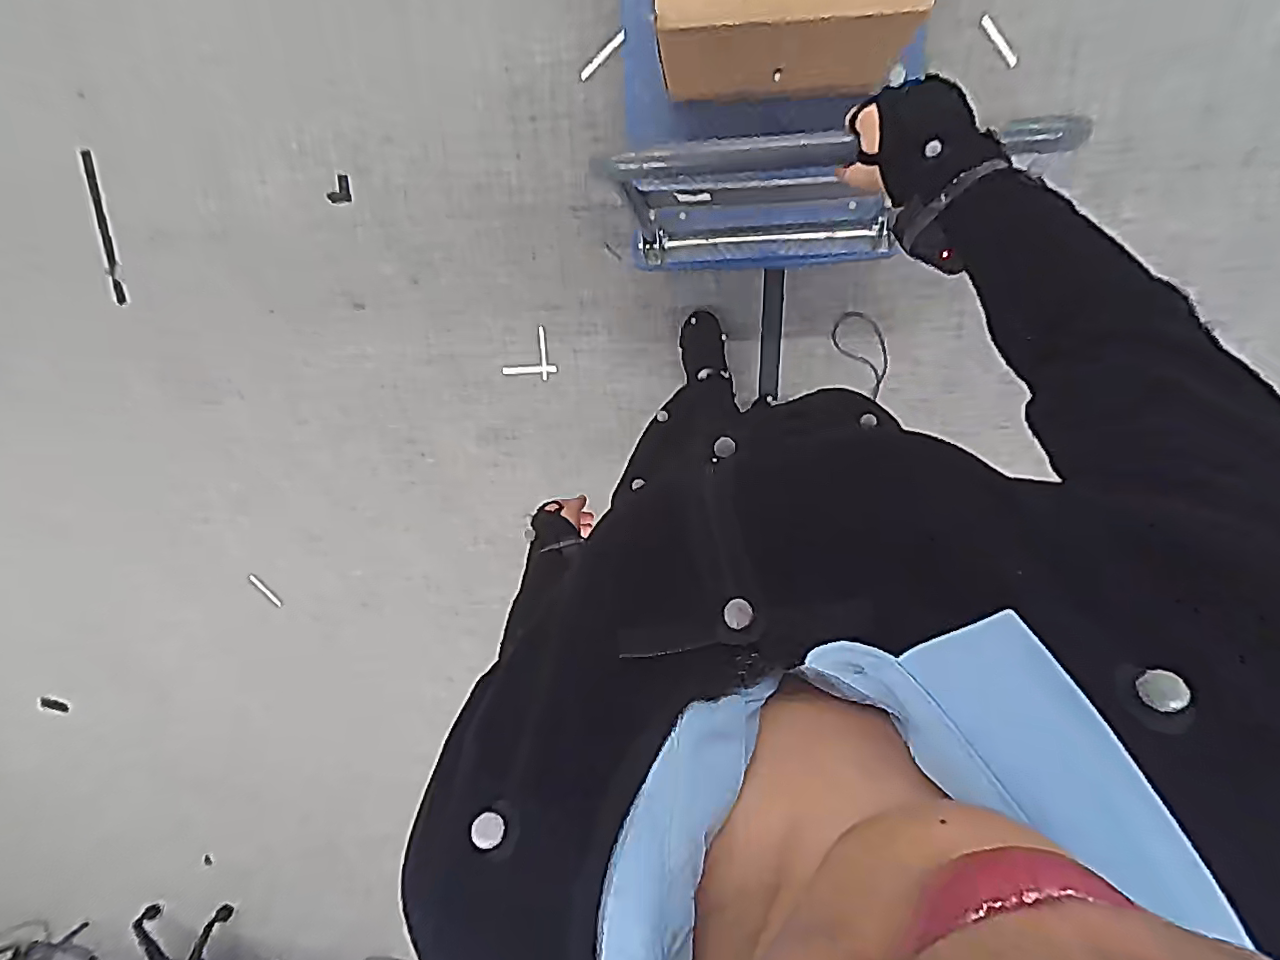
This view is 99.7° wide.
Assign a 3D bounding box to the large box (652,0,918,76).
[{"bbox_3d":[0.234,-0.893,0.864,0.408,0.320,0.320,2,107,8],"label":"large box"}]
